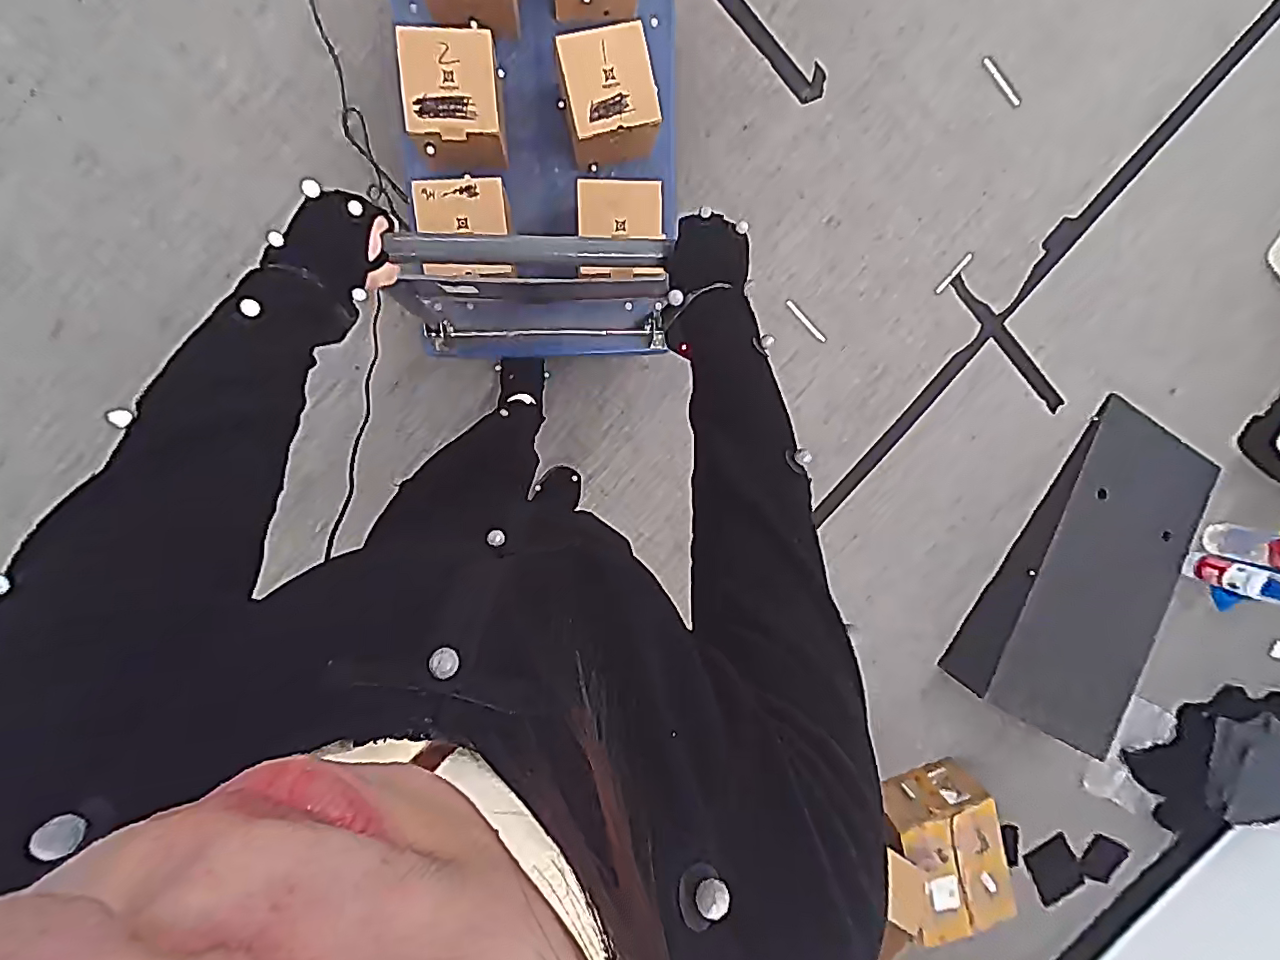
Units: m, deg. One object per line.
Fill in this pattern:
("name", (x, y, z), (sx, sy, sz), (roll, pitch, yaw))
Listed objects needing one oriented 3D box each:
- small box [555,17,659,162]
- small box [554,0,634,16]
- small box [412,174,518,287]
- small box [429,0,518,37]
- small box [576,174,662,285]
("small box", (-0.067, -0.765, 1.082), (0.168, 0.176, 0.179), (-15, 101, -5))
("small box", (-0.091, -1.032, 1.032), (0.168, 0.176, 0.179), (-6, 101, -6))
("small box", (-0.342, -0.493, 1.092), (0.168, 0.176, 0.179), (-6, 101, -7))
("small box", (-0.320, -0.984, 1.009), (0.168, 0.176, 0.179), (-1, 101, -7))
("small box", (-0.048, -0.512, 1.130), (0.168, 0.176, 0.179), (-2, 99, -8))
